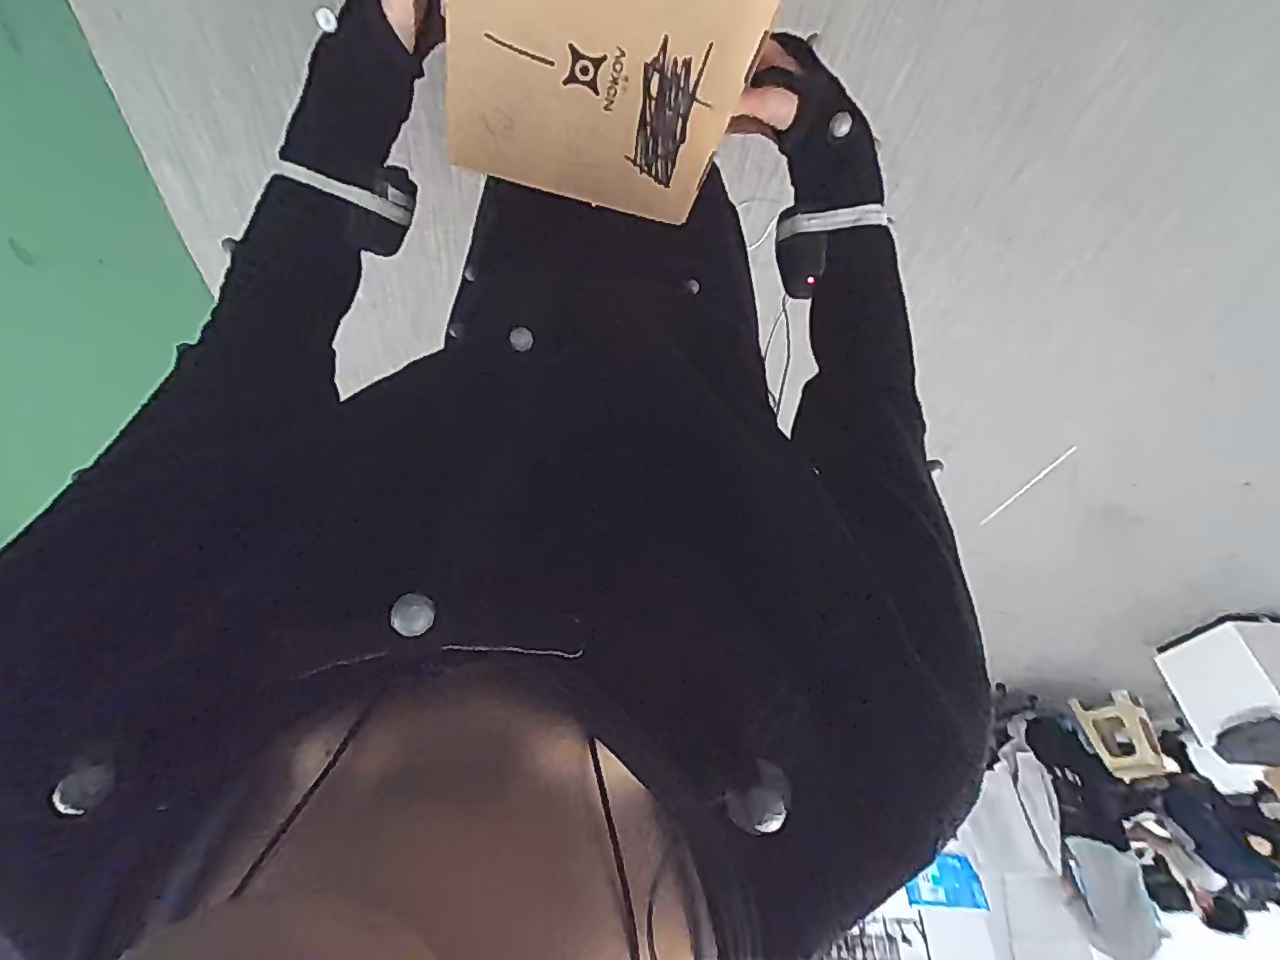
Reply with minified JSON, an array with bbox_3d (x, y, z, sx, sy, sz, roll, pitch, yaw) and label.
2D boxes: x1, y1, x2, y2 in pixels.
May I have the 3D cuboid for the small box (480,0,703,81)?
[{"bbox_3d":[-0.025,-0.472,0.430,0.179,0.176,0.168,8,152,-10],"label":"small box"}]
